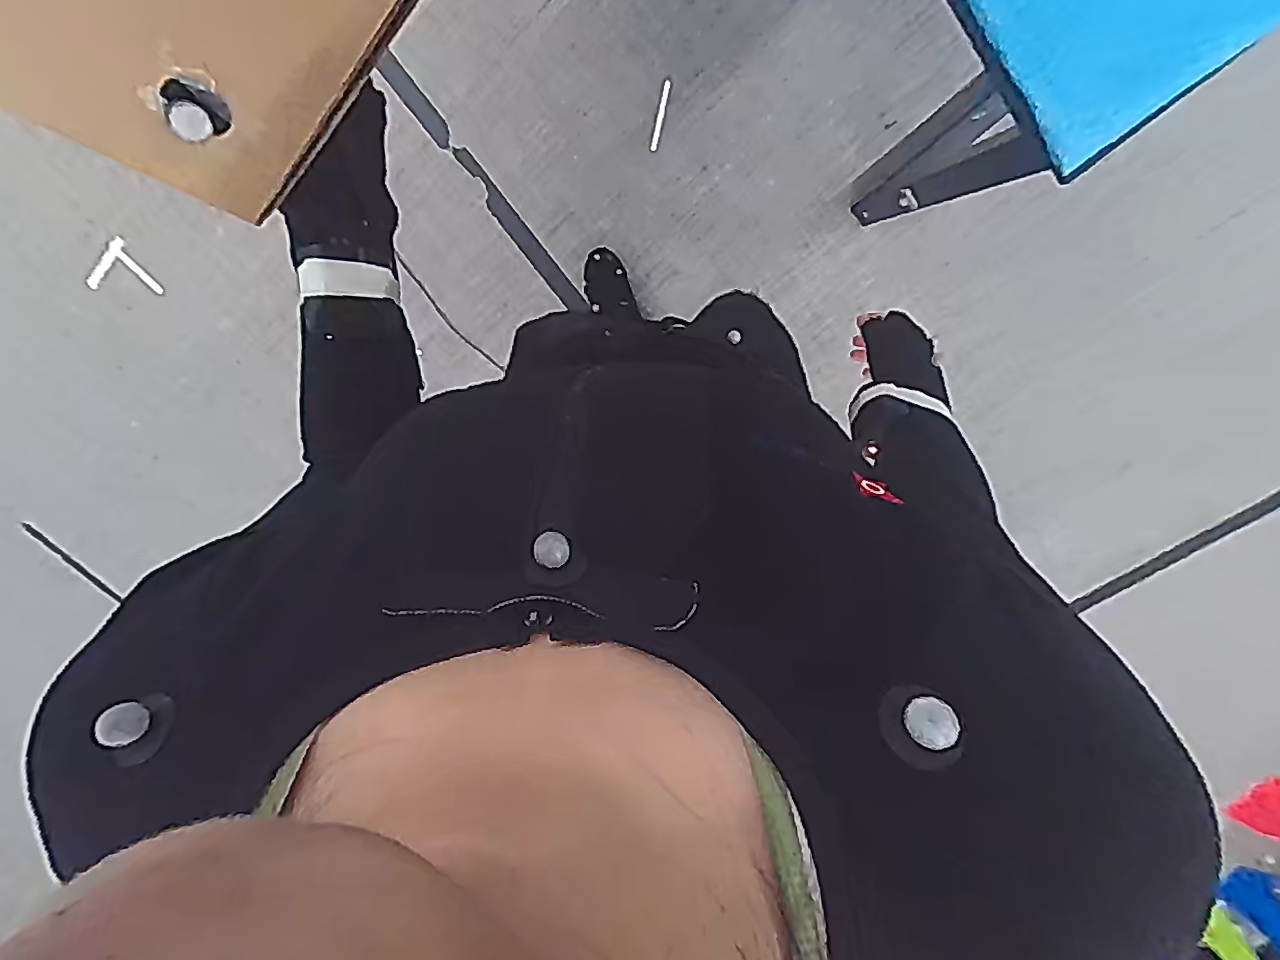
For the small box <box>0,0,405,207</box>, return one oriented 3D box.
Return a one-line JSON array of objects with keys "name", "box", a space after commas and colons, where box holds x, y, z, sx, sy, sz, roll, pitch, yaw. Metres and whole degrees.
[{"name": "small box", "box": [-0.196, -0.257, 0.199, 0.179, 0.176, 0.168, -28, 65, 30]}]
